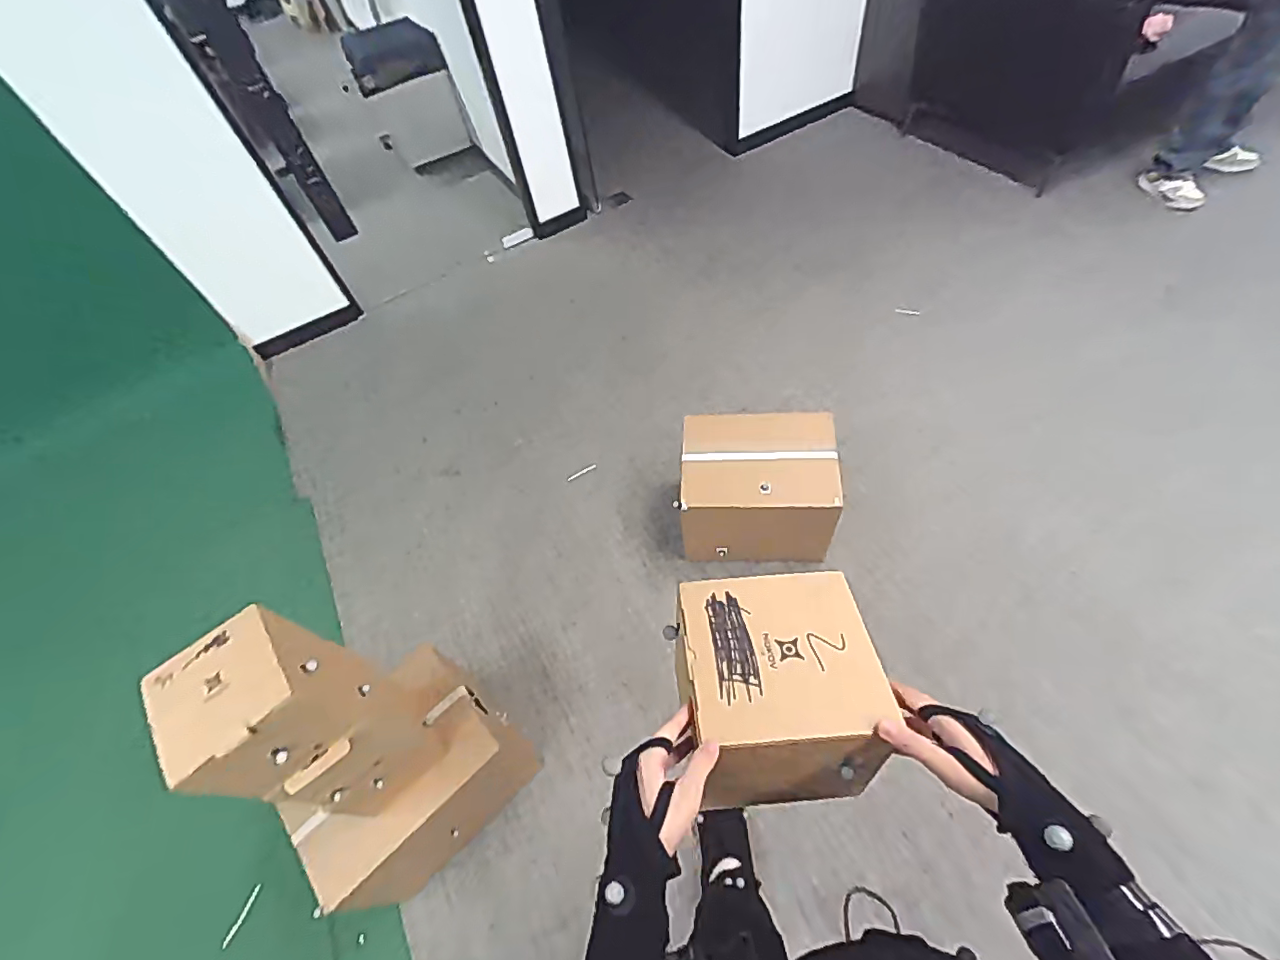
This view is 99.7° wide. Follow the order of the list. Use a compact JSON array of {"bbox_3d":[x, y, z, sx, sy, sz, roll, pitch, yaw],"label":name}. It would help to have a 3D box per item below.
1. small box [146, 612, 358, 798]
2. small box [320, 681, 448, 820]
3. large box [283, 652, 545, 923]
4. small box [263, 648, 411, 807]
[{"bbox_3d":[-0.551,0.331,0.788,0.168,0.176,0.179,-37,60,-17],"label":"small box"},{"bbox_3d":[-0.509,0.526,1.049,0.179,0.176,0.168,-37,59,-17],"label":"small box"},{"bbox_3d":[-0.495,0.684,1.238,0.408,0.320,0.320,-42,58,-18],"label":"large box"},{"bbox_3d":[-0.525,0.424,0.921,0.168,0.176,0.179,-36,58,-16],"label":"small box"}]
